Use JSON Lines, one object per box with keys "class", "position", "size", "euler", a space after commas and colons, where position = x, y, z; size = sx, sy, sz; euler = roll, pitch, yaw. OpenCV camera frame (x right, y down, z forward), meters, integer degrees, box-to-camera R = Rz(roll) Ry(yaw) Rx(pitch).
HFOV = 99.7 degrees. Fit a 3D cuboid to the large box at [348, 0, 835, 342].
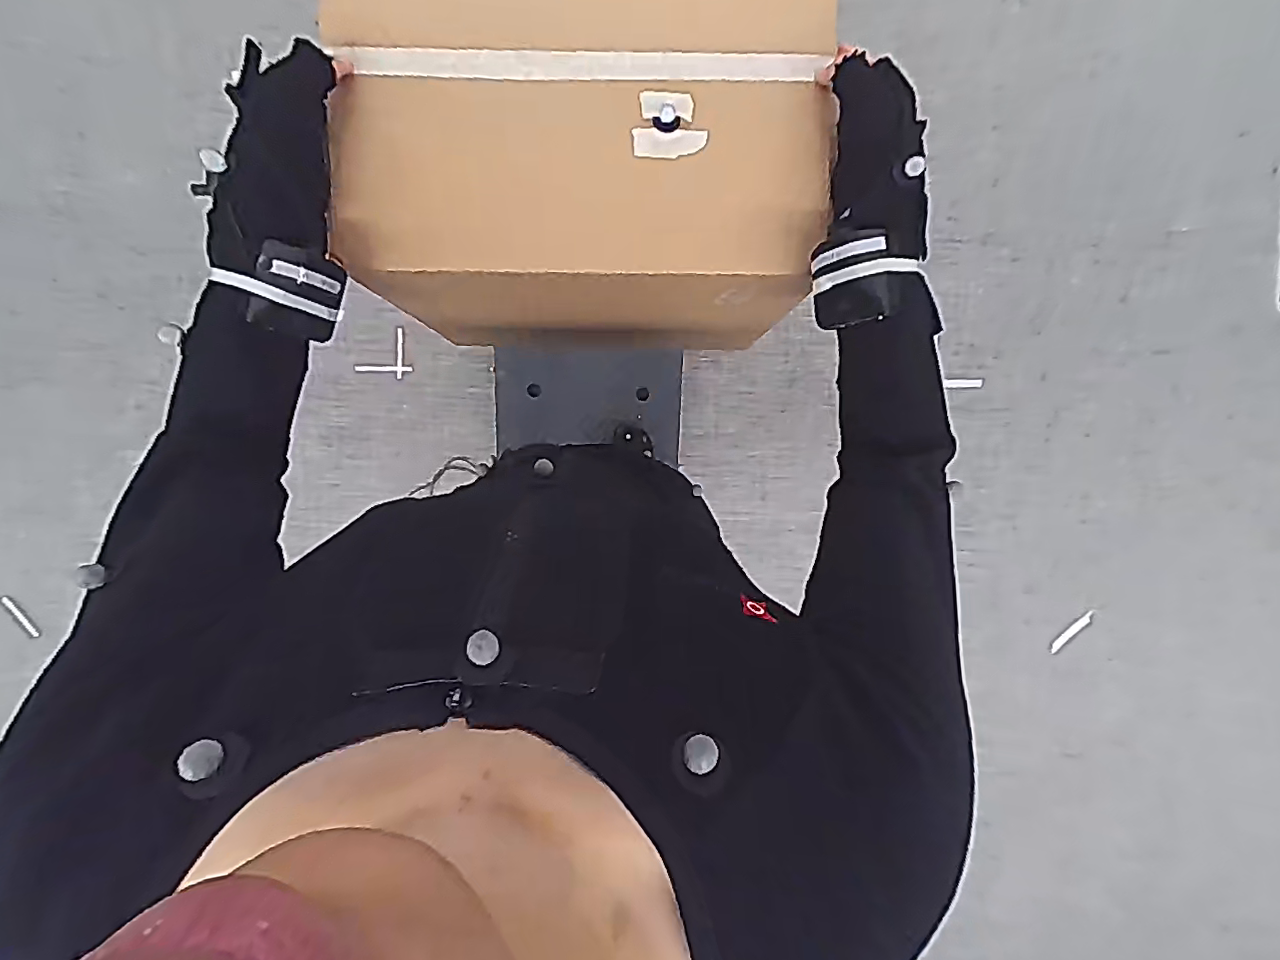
{"class": "large box", "position": [-0.043, -0.340, 0.590], "size": [0.408, 0.320, 0.320], "euler": [0, 93, -2]}
